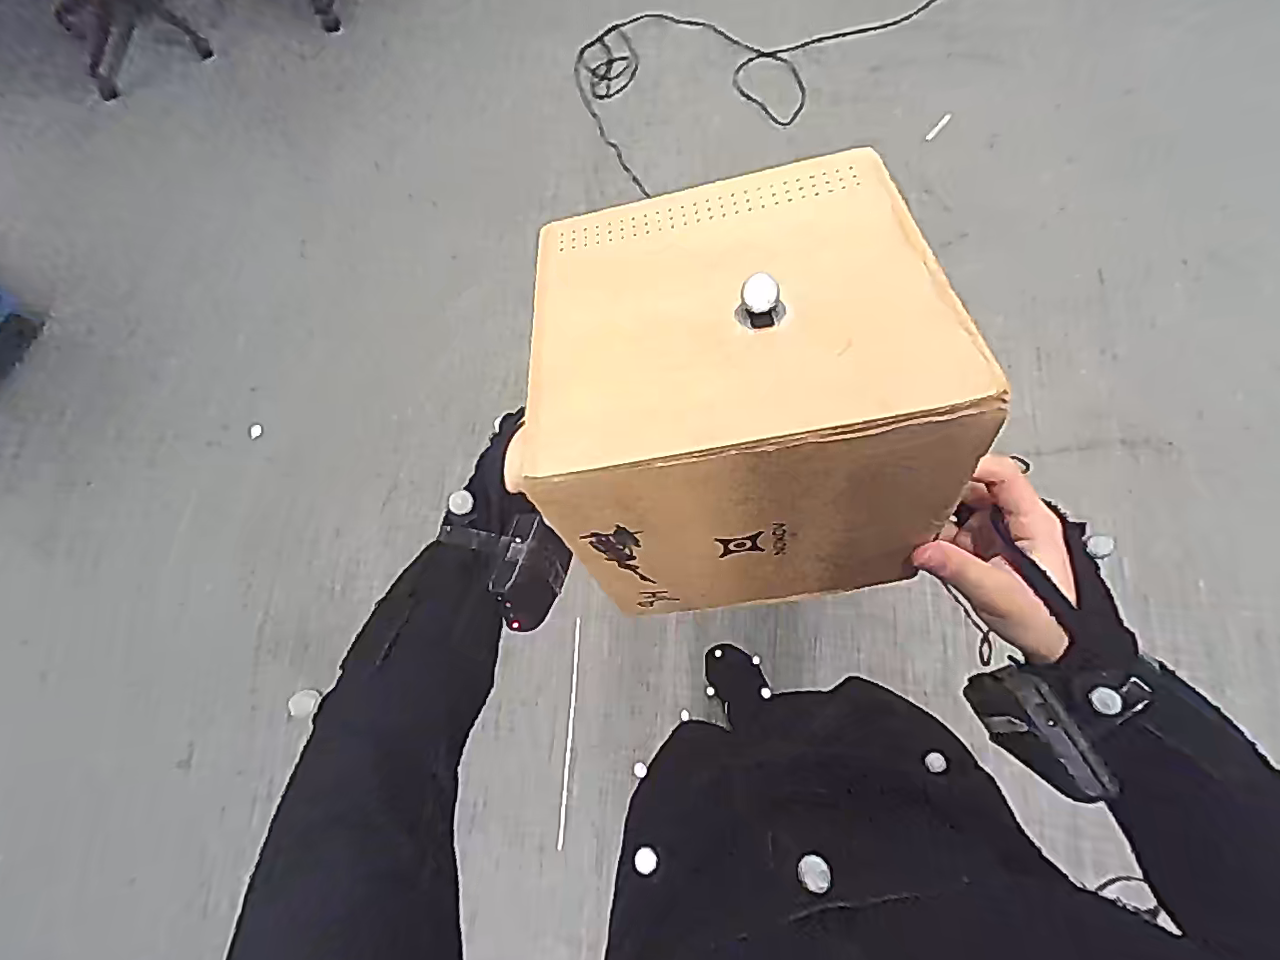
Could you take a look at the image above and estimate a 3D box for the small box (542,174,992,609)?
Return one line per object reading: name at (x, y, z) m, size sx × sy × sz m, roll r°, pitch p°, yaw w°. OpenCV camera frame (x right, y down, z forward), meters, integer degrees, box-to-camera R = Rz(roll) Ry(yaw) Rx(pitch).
small box at (0.053, -0.042, 0.313) m, size 0.179 × 0.168 × 0.176 m, roll -10°, pitch 56°, yaw 8°
